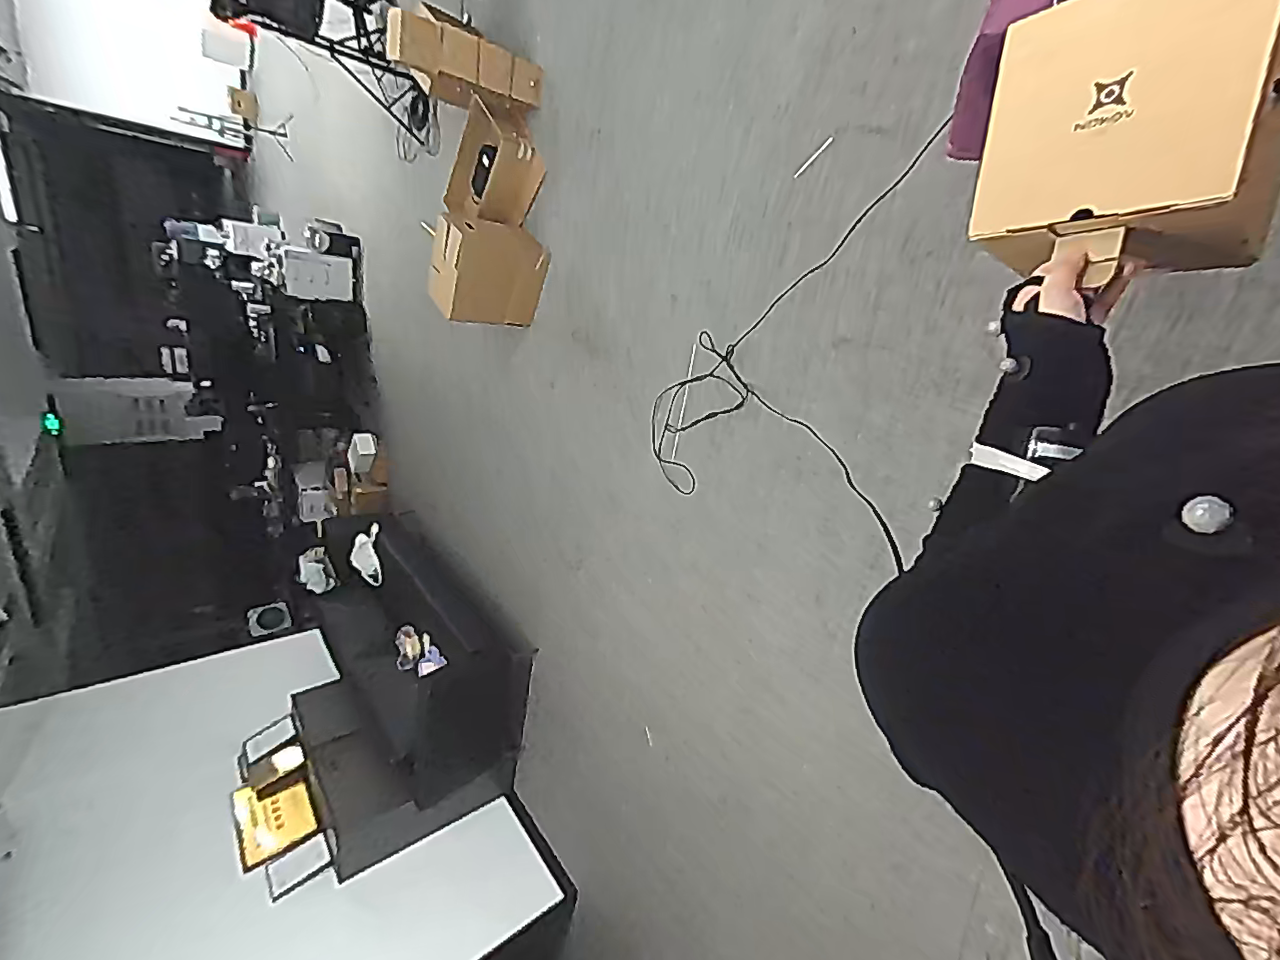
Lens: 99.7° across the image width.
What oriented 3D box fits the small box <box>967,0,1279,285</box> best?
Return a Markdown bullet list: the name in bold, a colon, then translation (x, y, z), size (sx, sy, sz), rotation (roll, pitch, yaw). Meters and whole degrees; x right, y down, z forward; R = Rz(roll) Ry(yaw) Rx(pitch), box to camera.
- **small box**: translation (0.414, -0.279, 0.459), size (0.168, 0.176, 0.179), rotation (17, 103, 50)
